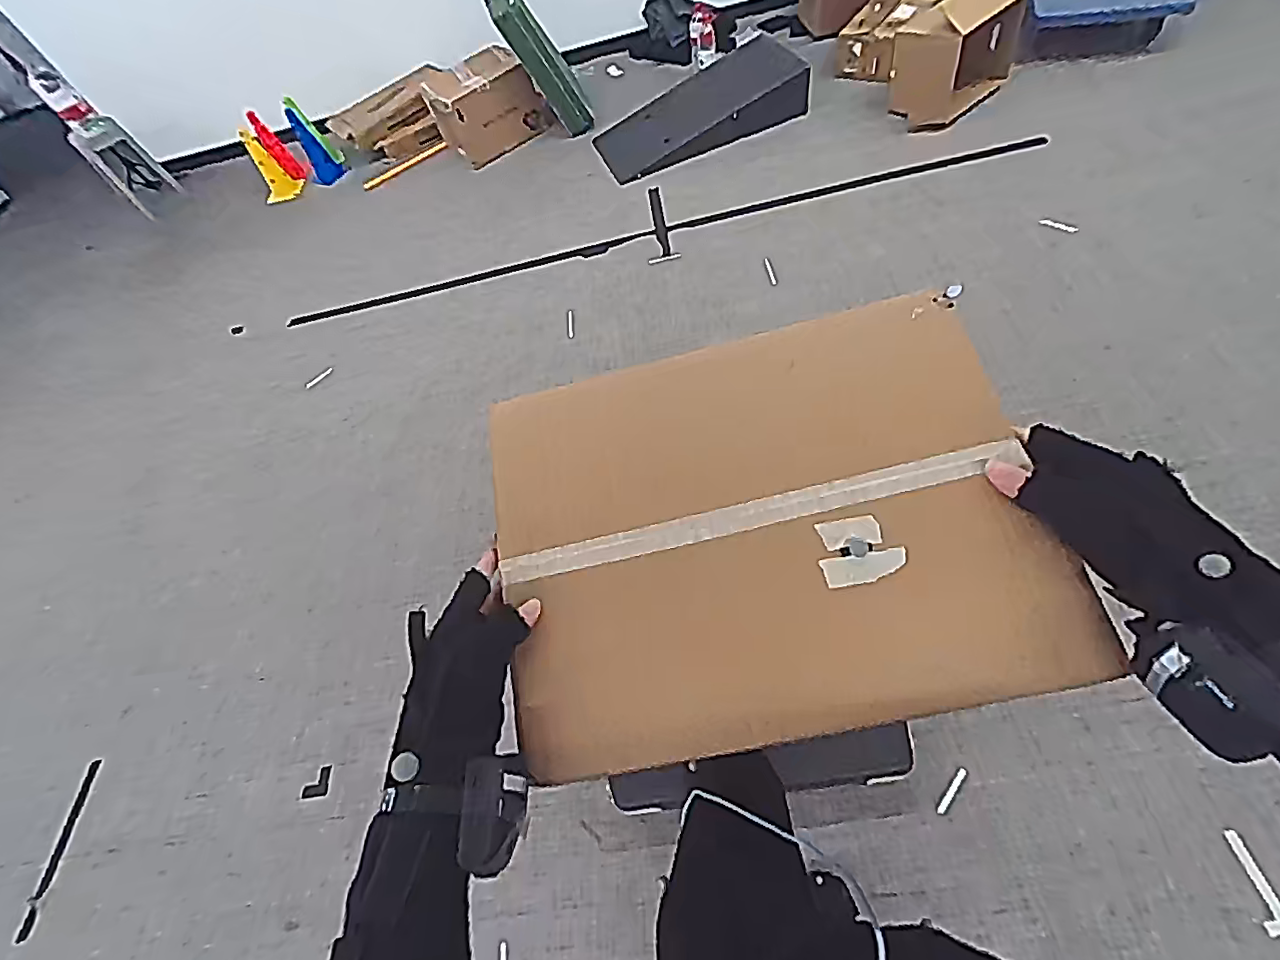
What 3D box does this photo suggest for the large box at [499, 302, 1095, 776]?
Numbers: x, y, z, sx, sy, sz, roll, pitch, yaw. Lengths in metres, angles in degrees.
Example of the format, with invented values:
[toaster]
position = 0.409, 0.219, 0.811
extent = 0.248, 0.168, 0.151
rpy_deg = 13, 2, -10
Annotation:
[large box]
position = 0.111, 0.083, 0.570
extent = 0.408, 0.320, 0.320
rpy_deg = -14, 68, 6
